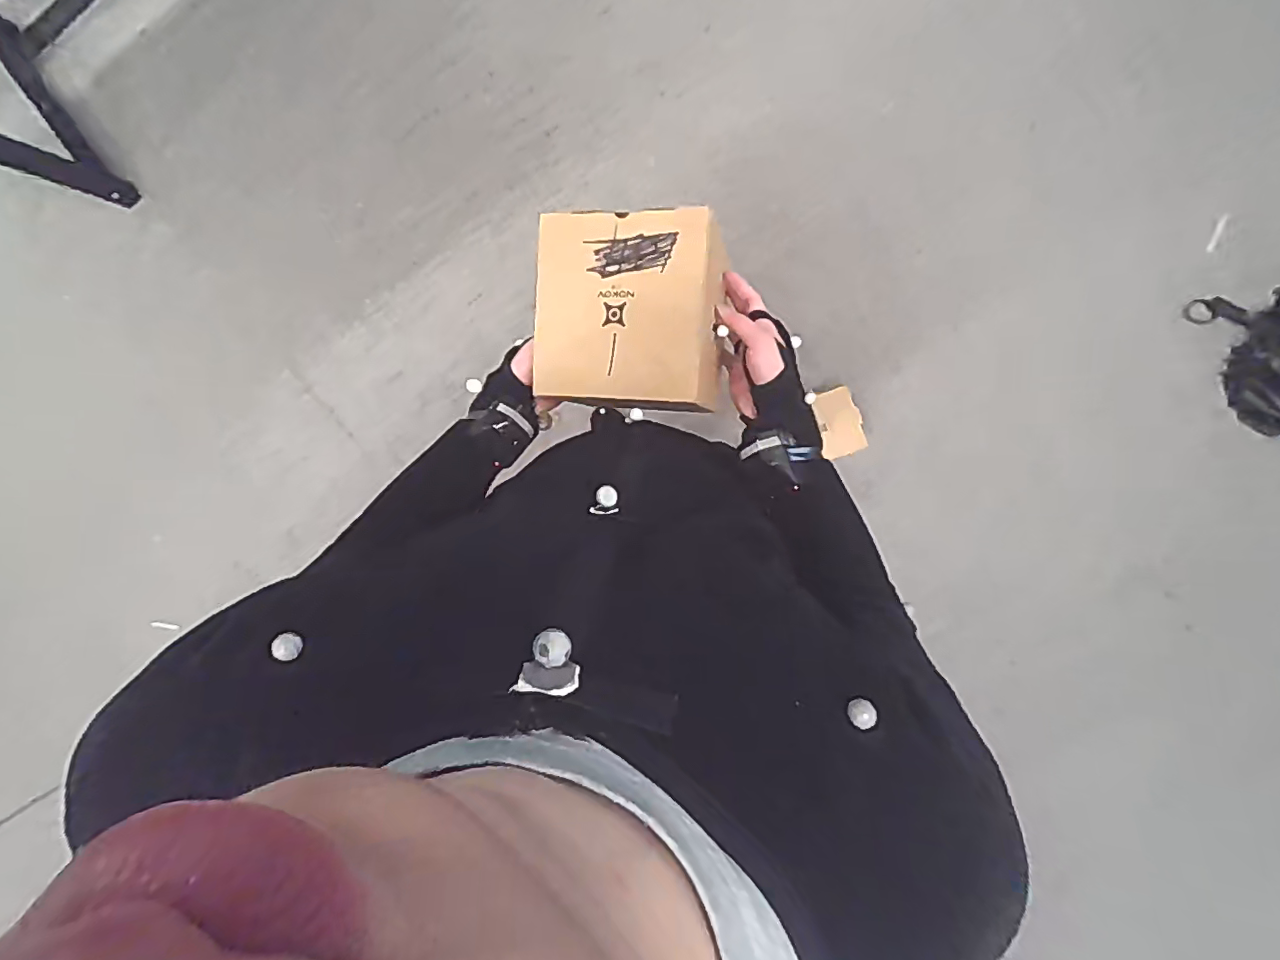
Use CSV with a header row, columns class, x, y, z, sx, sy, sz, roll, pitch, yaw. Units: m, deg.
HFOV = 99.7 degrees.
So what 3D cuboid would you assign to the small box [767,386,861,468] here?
class,x,y,z,sx,sy,sz,roll,pitch,yaw
small box,0.456,-0.144,1.442,0.179,0.176,0.168,-20,96,7
